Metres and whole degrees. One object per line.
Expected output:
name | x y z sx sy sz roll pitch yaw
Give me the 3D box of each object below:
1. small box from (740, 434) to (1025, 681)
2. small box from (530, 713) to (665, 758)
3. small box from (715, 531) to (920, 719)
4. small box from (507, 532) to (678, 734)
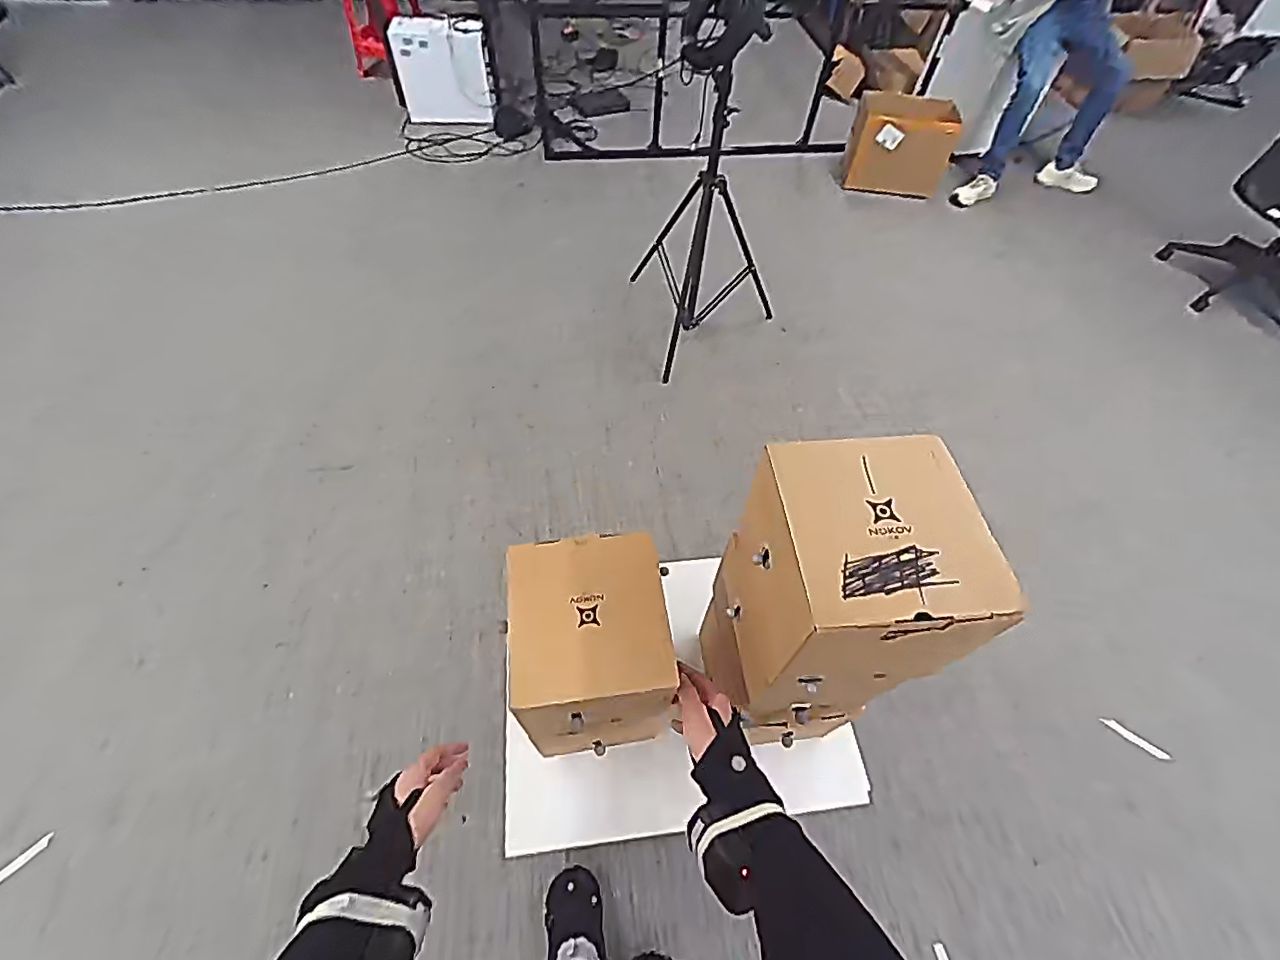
small box | 0.199 0.080 0.508 0.168 0.176 0.179 -4 54 -4
small box | -0.067 0.272 0.760 0.168 0.176 0.179 -7 57 -8
small box | 0.192 0.170 0.646 0.168 0.176 0.179 -5 57 -4
small box | -0.057 0.183 0.624 0.168 0.176 0.179 -6 55 -7
